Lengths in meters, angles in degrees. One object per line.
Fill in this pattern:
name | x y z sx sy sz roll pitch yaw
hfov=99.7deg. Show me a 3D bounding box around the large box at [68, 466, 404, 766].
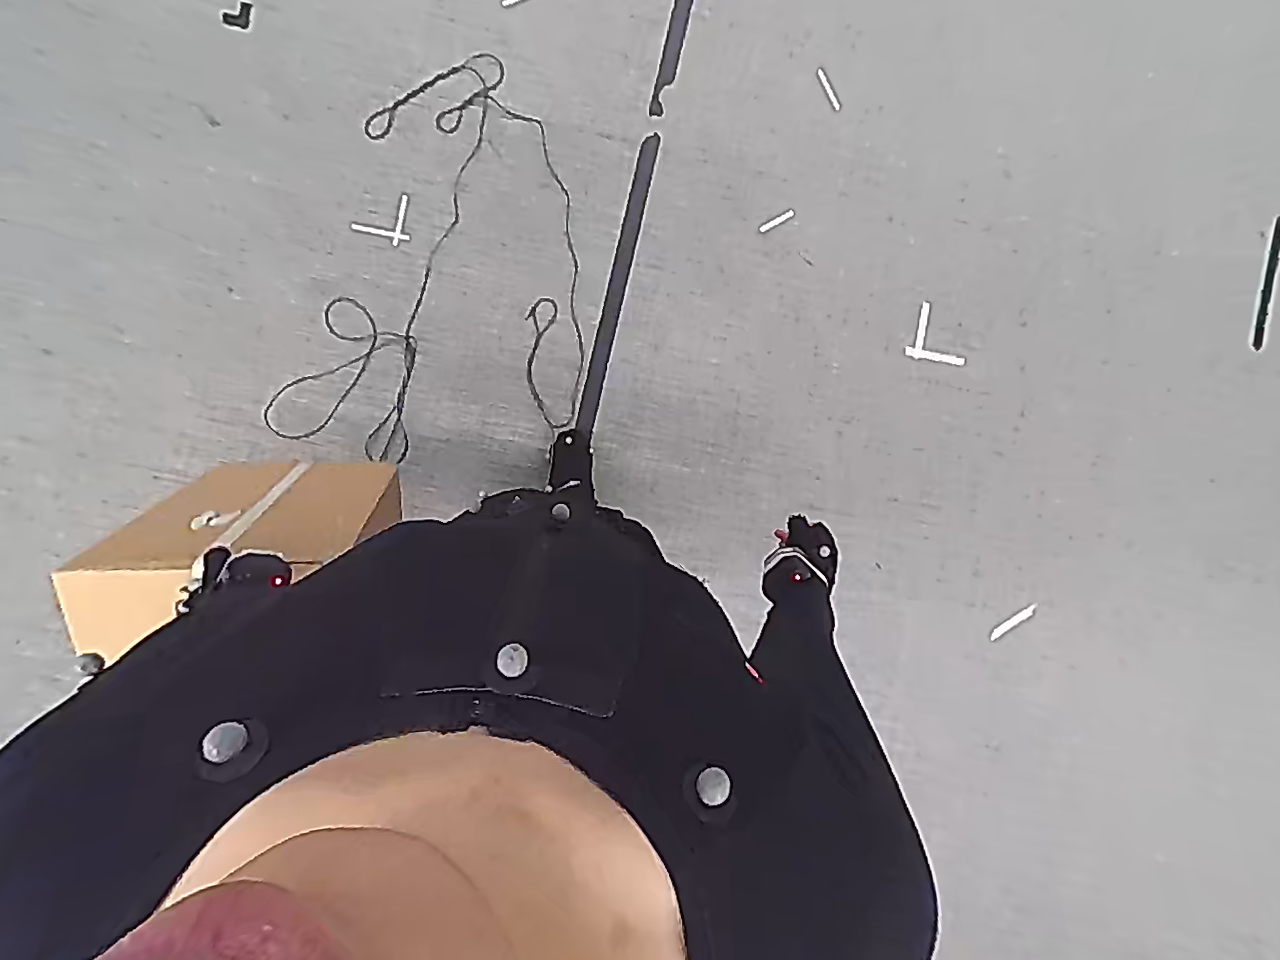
large box | -0.598 0.188 0.910 0.320 0.408 0.320 -2 111 -13
